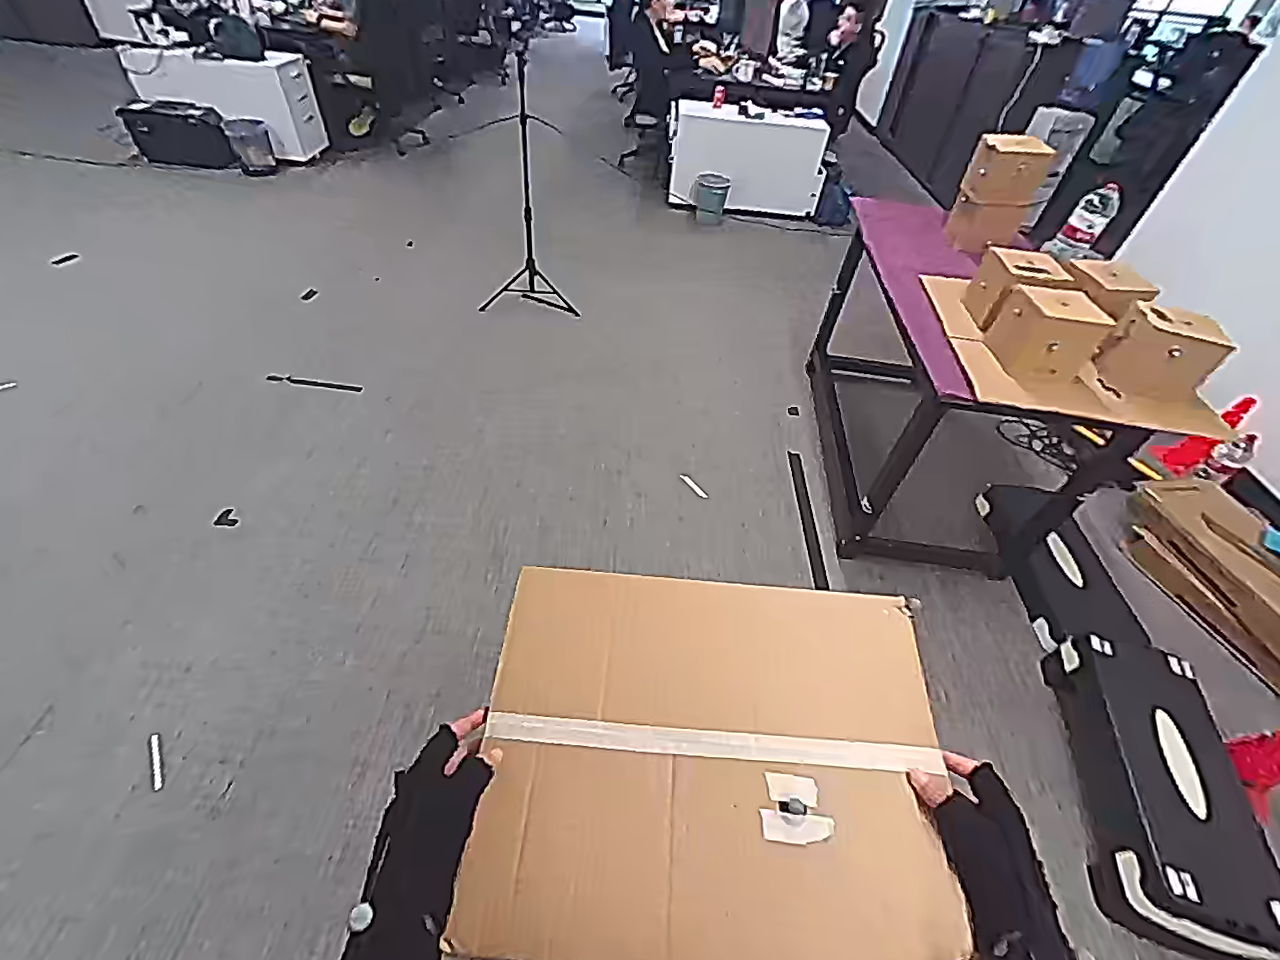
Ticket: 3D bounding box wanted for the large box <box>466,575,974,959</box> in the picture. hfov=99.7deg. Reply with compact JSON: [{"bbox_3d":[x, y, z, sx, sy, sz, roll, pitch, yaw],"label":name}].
[{"bbox_3d":[0.063,0.326,0.621,0.408,0.320,0.320,4,55,1],"label":"large box"}]
